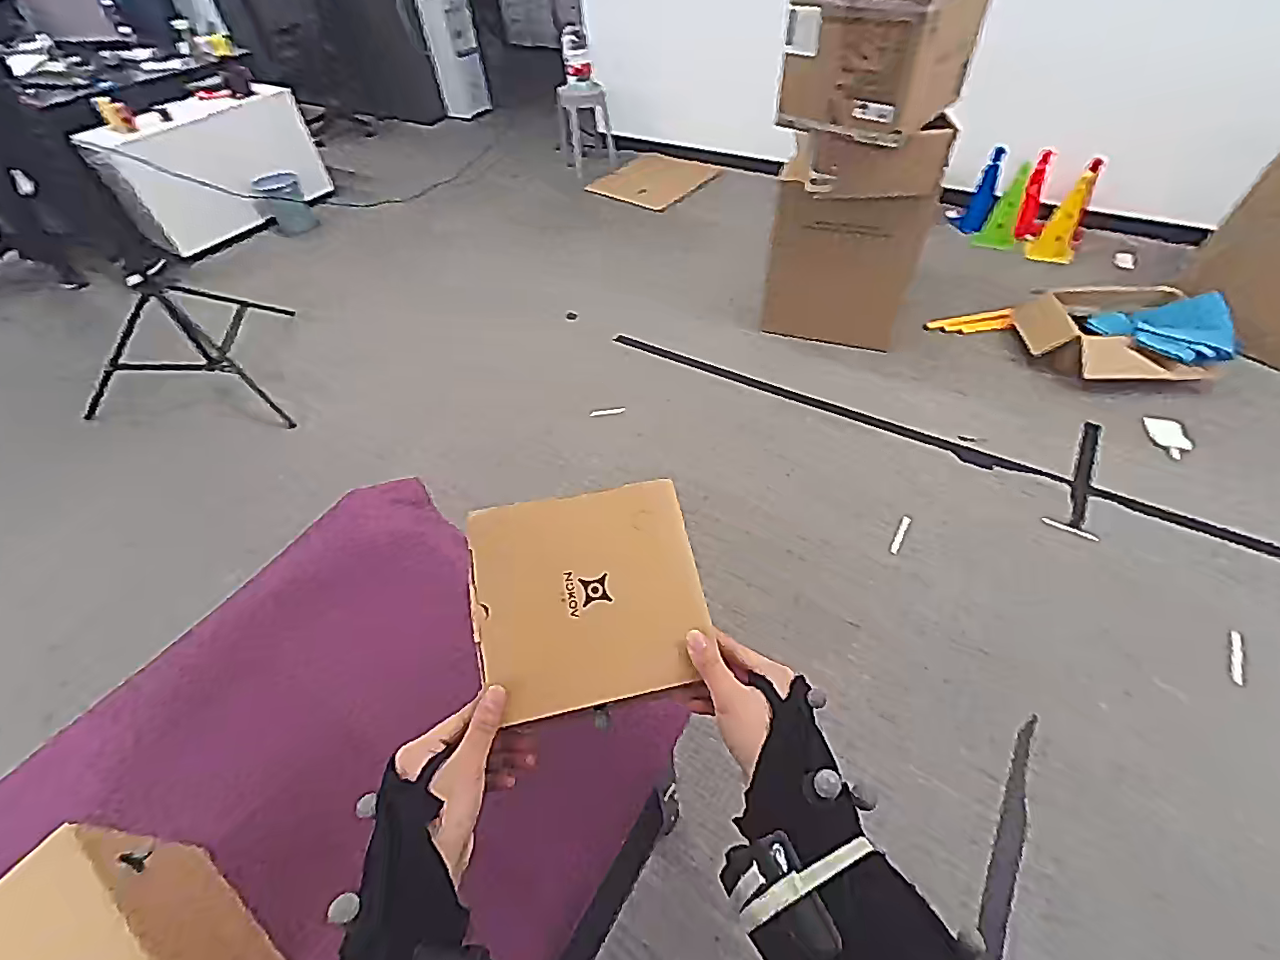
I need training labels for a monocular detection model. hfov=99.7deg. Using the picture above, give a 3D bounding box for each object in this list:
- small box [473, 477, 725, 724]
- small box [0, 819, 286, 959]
[{"bbox_3d":[-0.041,0.116,0.493,0.179,0.176,0.168,-10,66,-8],"label":"small box"},{"bbox_3d":[-0.438,0.417,0.430,0.179,0.176,0.168,25,56,24],"label":"small box"}]
